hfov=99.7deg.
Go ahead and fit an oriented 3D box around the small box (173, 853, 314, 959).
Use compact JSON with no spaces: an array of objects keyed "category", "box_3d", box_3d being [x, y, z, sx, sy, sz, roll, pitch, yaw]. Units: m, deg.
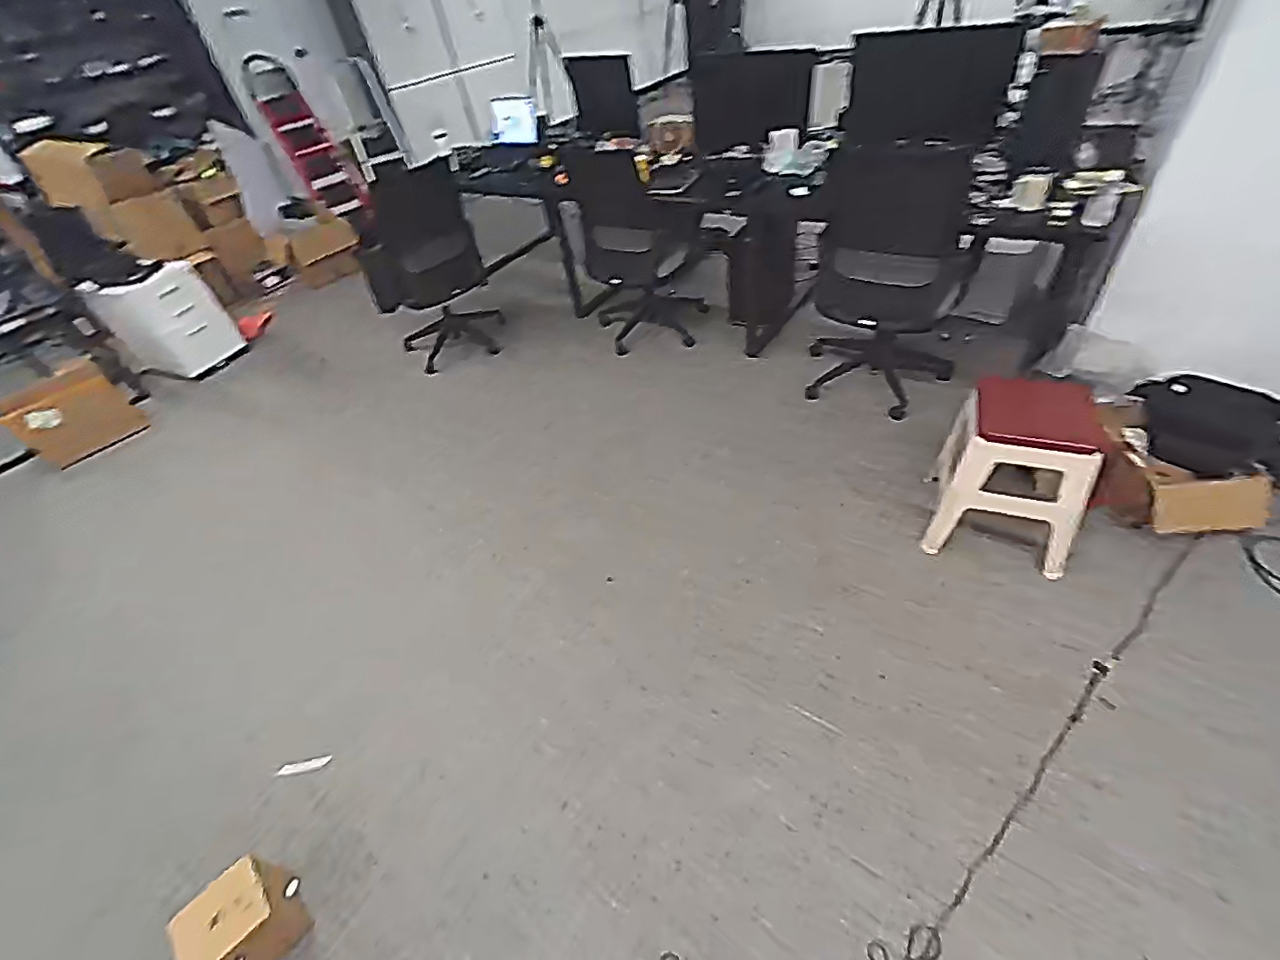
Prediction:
[{"category":"small box","box_3d":[-0.887,1.001,1.219,0.168,0.176,0.179,30,56,34]}]
